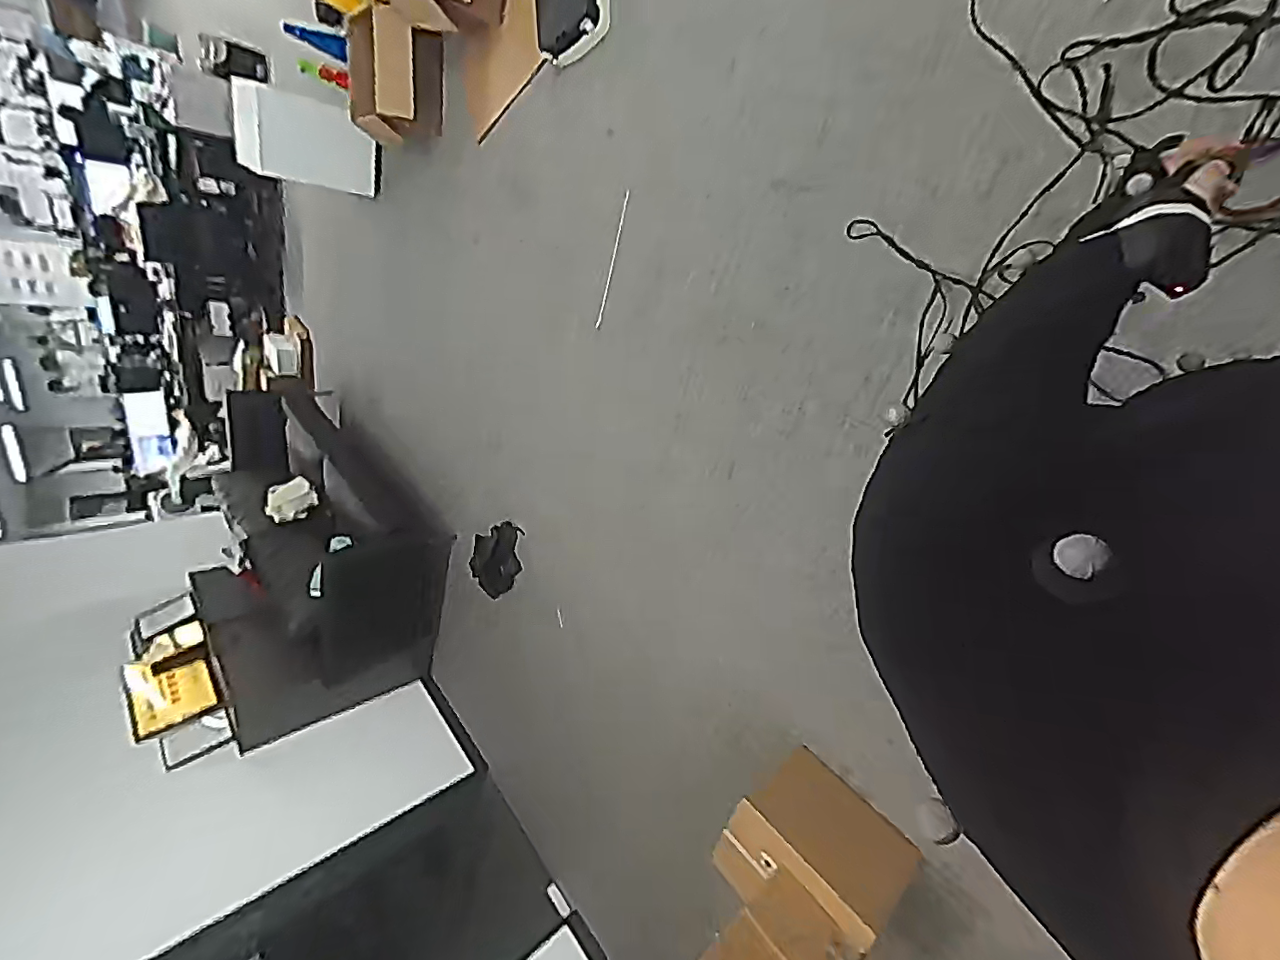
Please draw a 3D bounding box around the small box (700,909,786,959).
[{"bbox_3d":[0.231,1.145,1.230,0.179,0.176,0.168,41,126,34],"label":"small box"}]

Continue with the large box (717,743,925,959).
[{"bbox_3d":[0.499,1.054,1.525,0.408,0.320,0.320,36,122,37],"label":"large box"}]
